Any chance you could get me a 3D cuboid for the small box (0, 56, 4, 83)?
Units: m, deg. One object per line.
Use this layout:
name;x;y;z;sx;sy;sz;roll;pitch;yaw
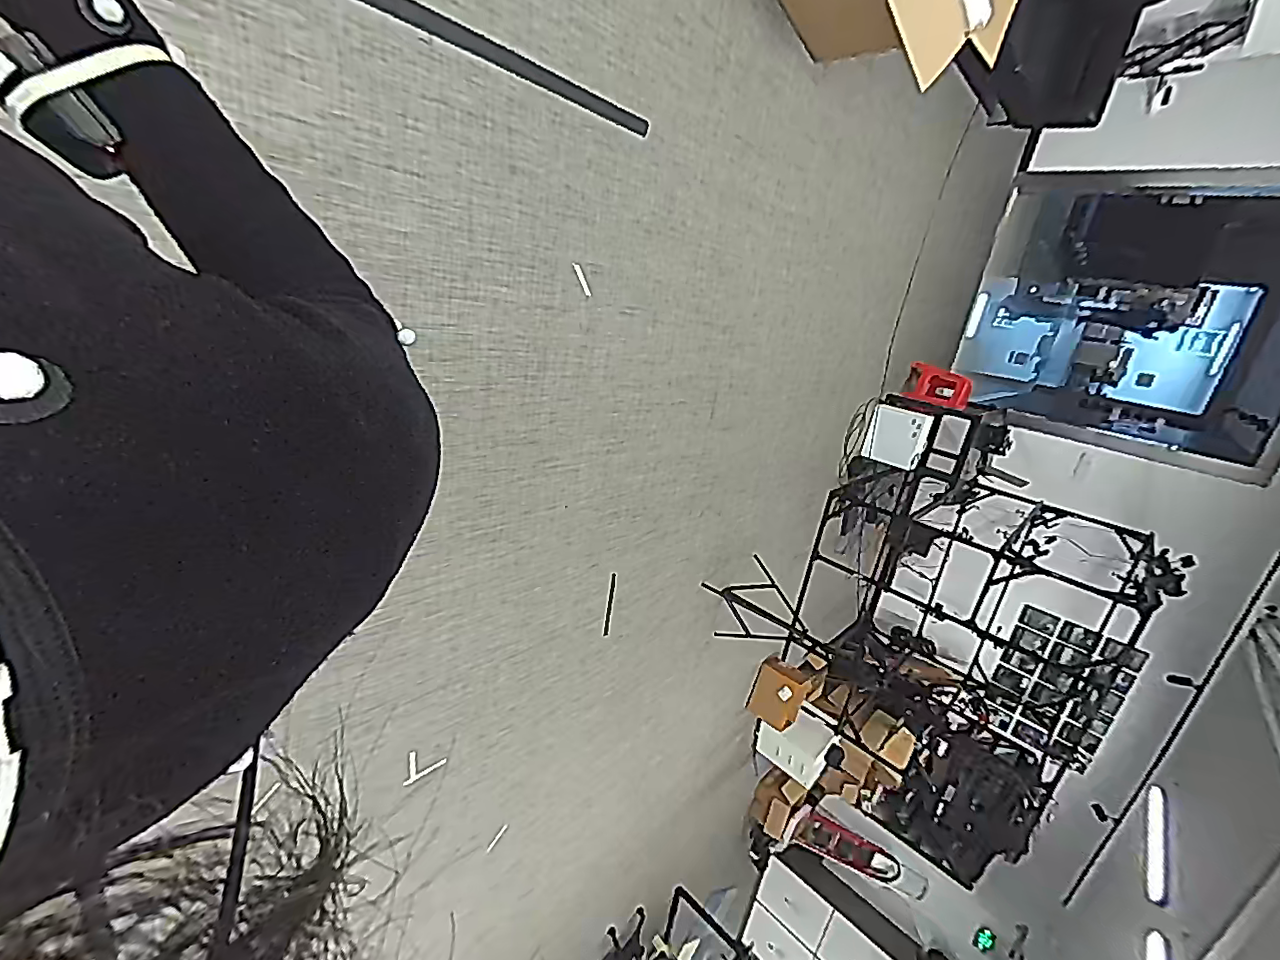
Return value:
small box;-1.043;-0.678;0.758;0.179;0.176;0.168;-12;117;-45
